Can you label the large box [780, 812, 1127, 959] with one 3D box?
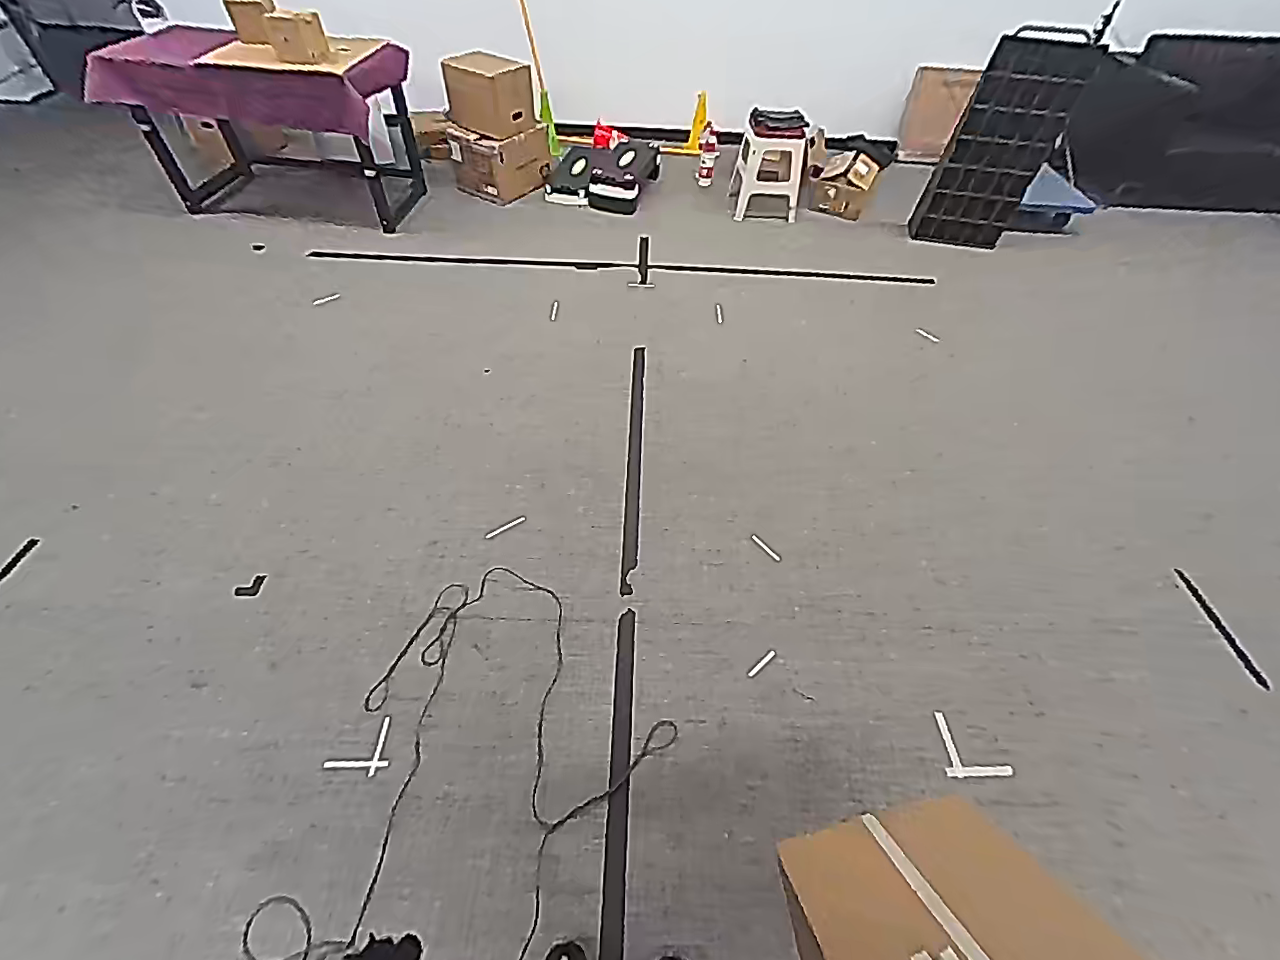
[{"bbox_3d":[0.409,0.704,0.661,0.320,0.408,0.320,-13,90,-4],"label":"large box"}]
